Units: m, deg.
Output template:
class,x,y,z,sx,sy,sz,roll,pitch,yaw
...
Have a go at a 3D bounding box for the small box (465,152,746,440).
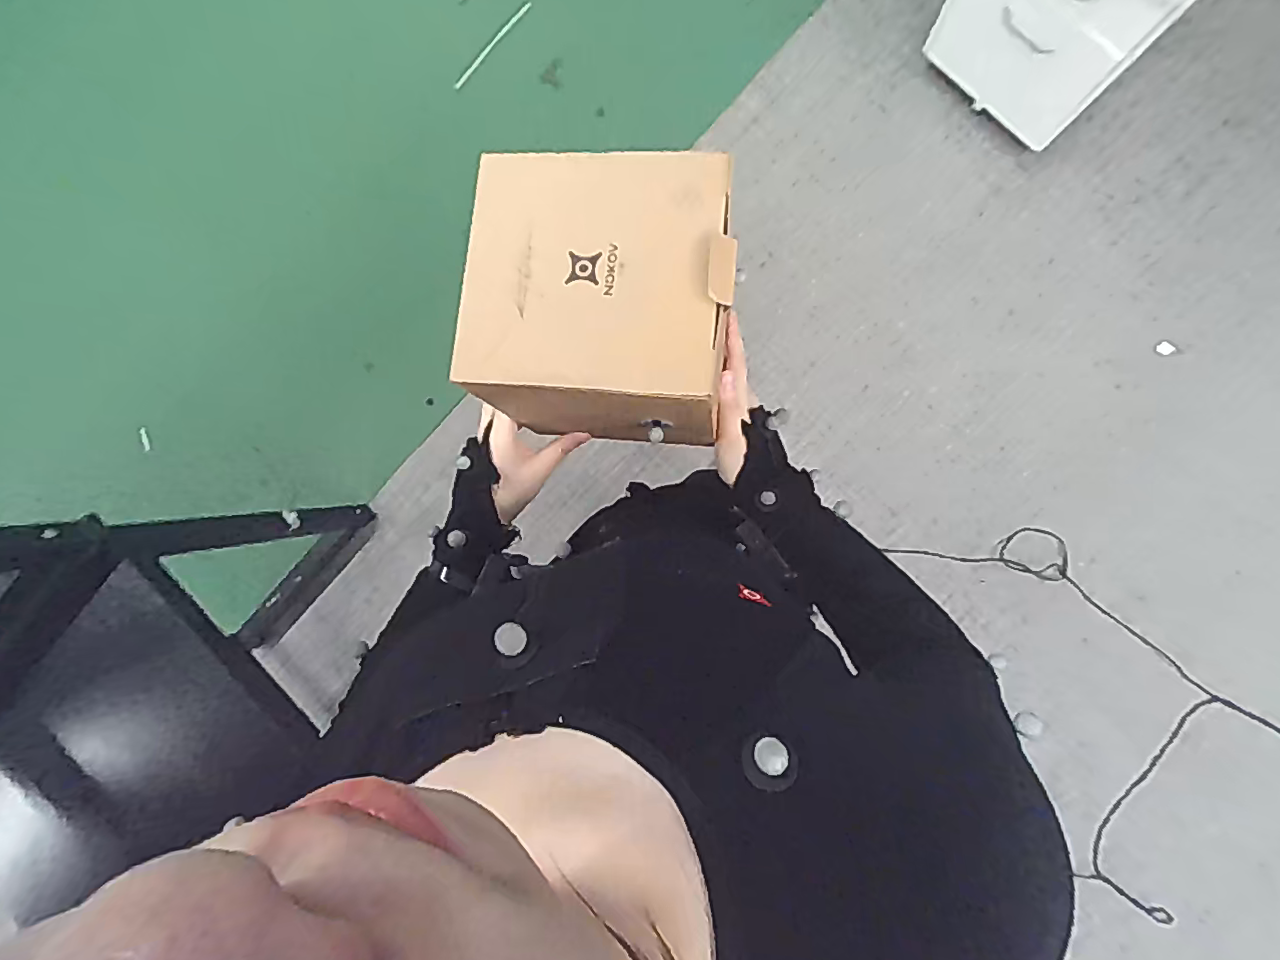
class,x,y,z,sx,sy,sz,roll,pitch,yaw
small box,-0.013,-0.130,0.437,0.179,0.176,0.168,5,83,9
